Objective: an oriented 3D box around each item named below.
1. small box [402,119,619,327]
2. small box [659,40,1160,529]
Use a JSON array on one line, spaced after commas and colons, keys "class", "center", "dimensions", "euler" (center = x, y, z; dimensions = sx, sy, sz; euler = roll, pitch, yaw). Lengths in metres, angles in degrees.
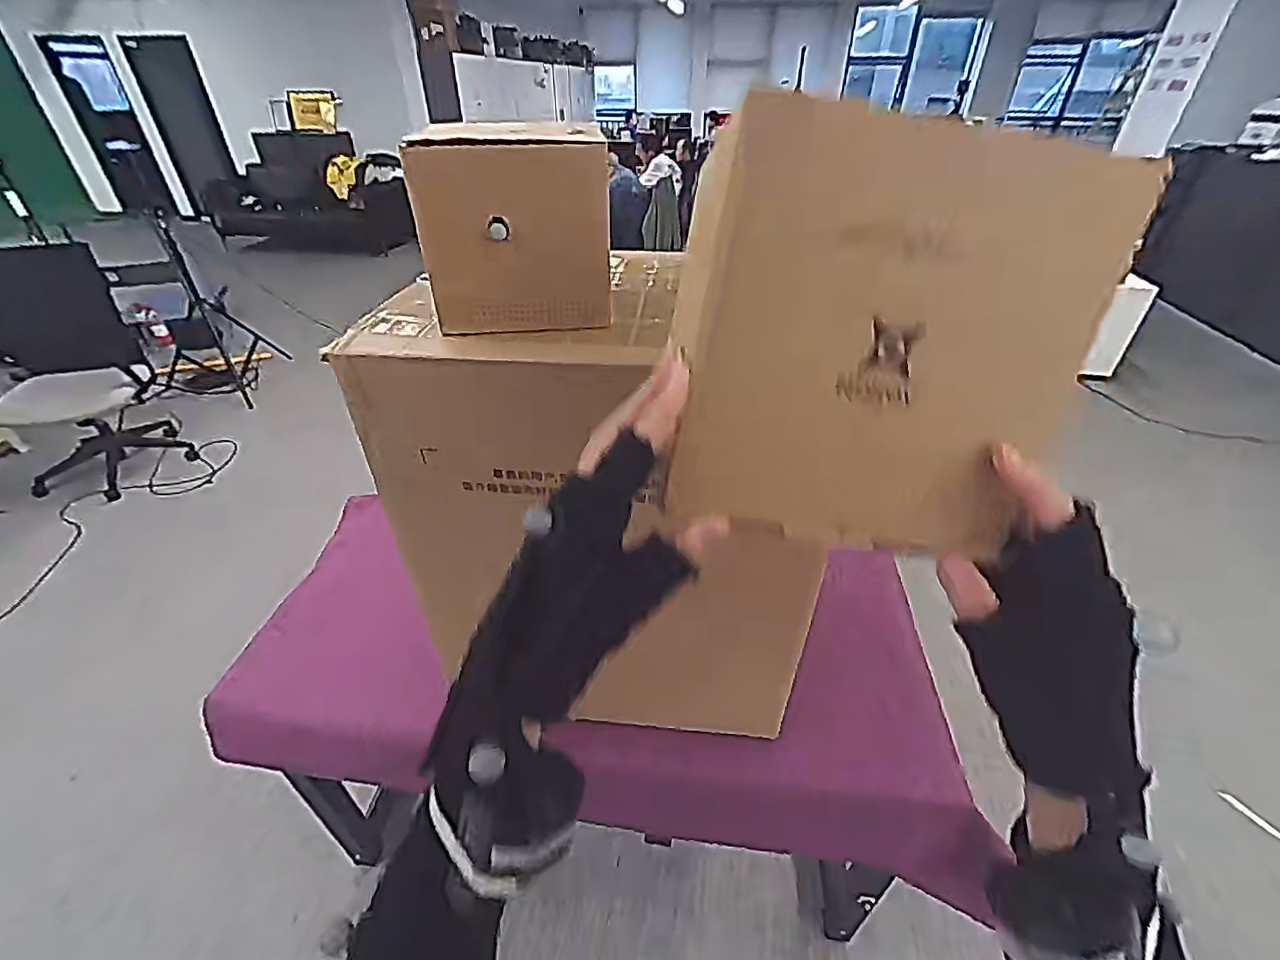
[{"class": "small box", "center": [-0.119, -0.268, 0.562], "dimensions": [0.179, 0.176, 0.168], "euler": [-5, 38, -6]}, {"class": "small box", "center": [0.106, -0.095, 0.304], "dimensions": [0.168, 0.179, 0.176], "euler": [9, 19, -2]}]
